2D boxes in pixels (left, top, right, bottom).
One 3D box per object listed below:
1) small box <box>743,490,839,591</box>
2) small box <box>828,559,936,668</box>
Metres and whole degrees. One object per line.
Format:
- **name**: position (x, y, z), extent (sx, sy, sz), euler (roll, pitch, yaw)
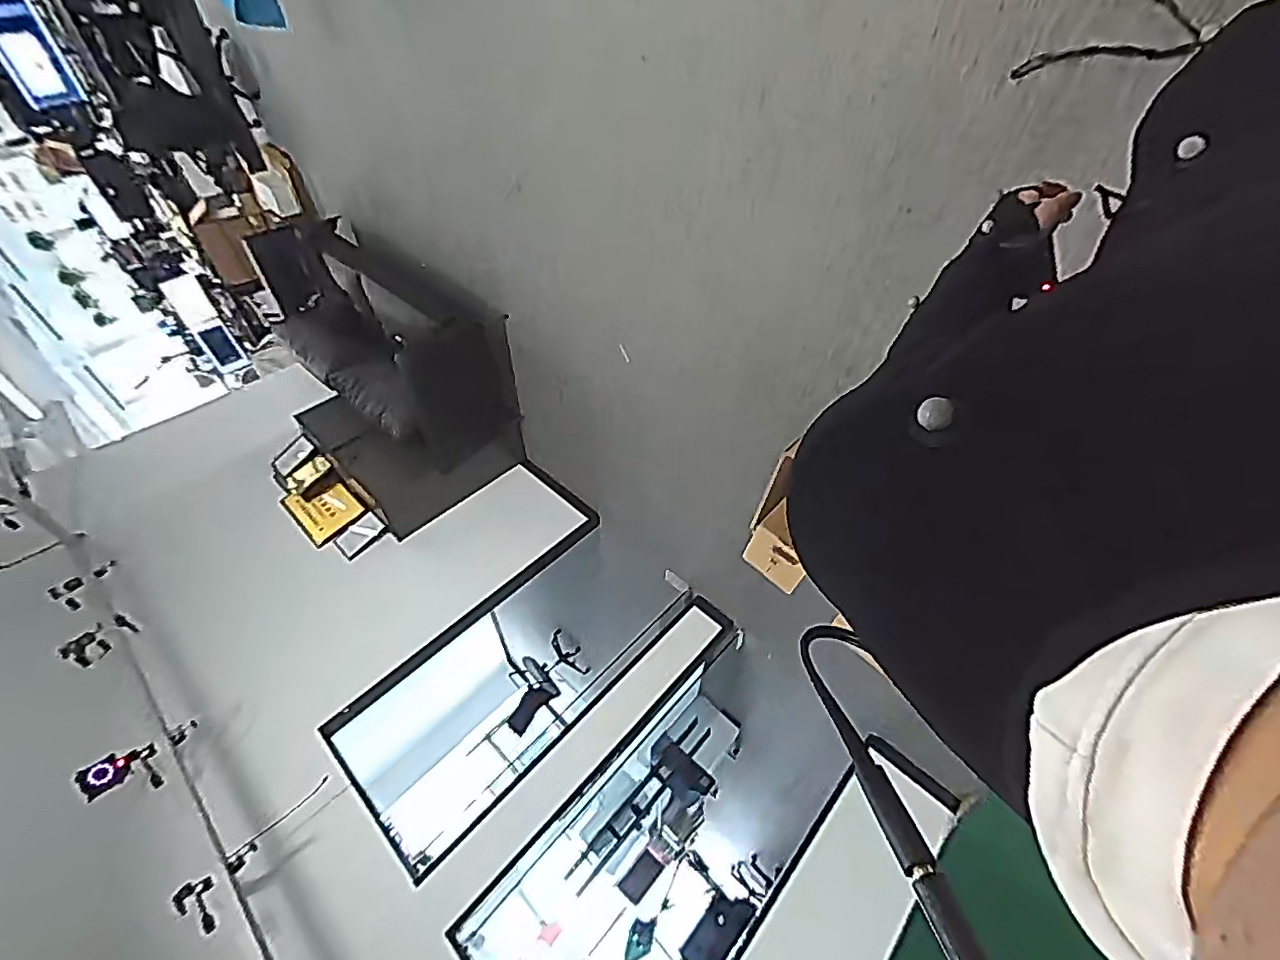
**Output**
- **small box**: position (0.411, 0.160, 1.467), extent (0.168, 0.176, 0.179), euler (40, 148, 20)
- **small box**: position (0.613, 0.332, 1.366), extent (0.168, 0.176, 0.179), euler (39, 146, 24)
